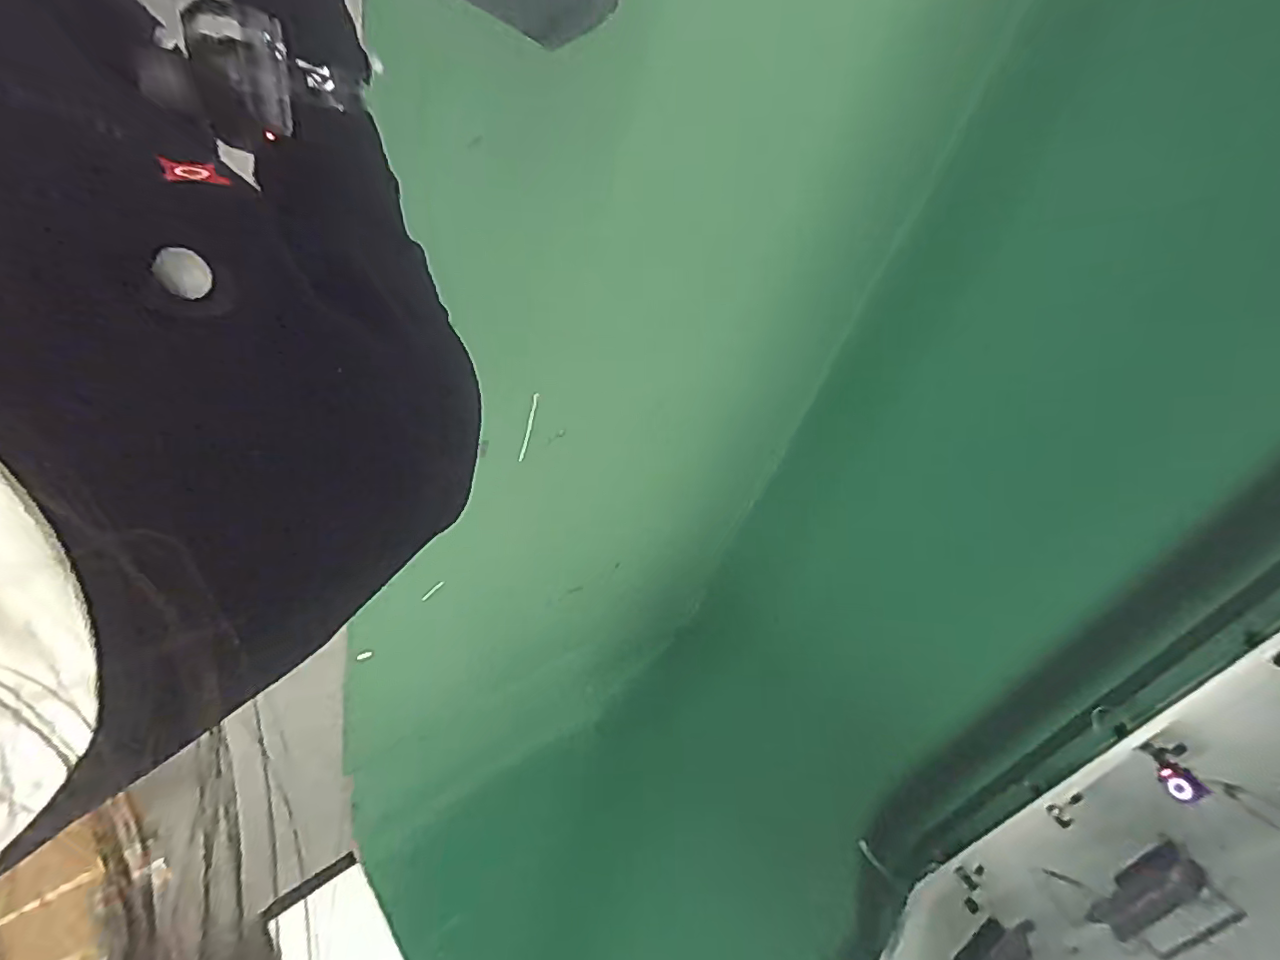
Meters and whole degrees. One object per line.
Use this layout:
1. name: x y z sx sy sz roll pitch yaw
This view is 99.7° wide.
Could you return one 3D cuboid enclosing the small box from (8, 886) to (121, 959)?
1. small box: -1.555 1.265 1.461 0.179 0.176 0.168 -20 138 -43
